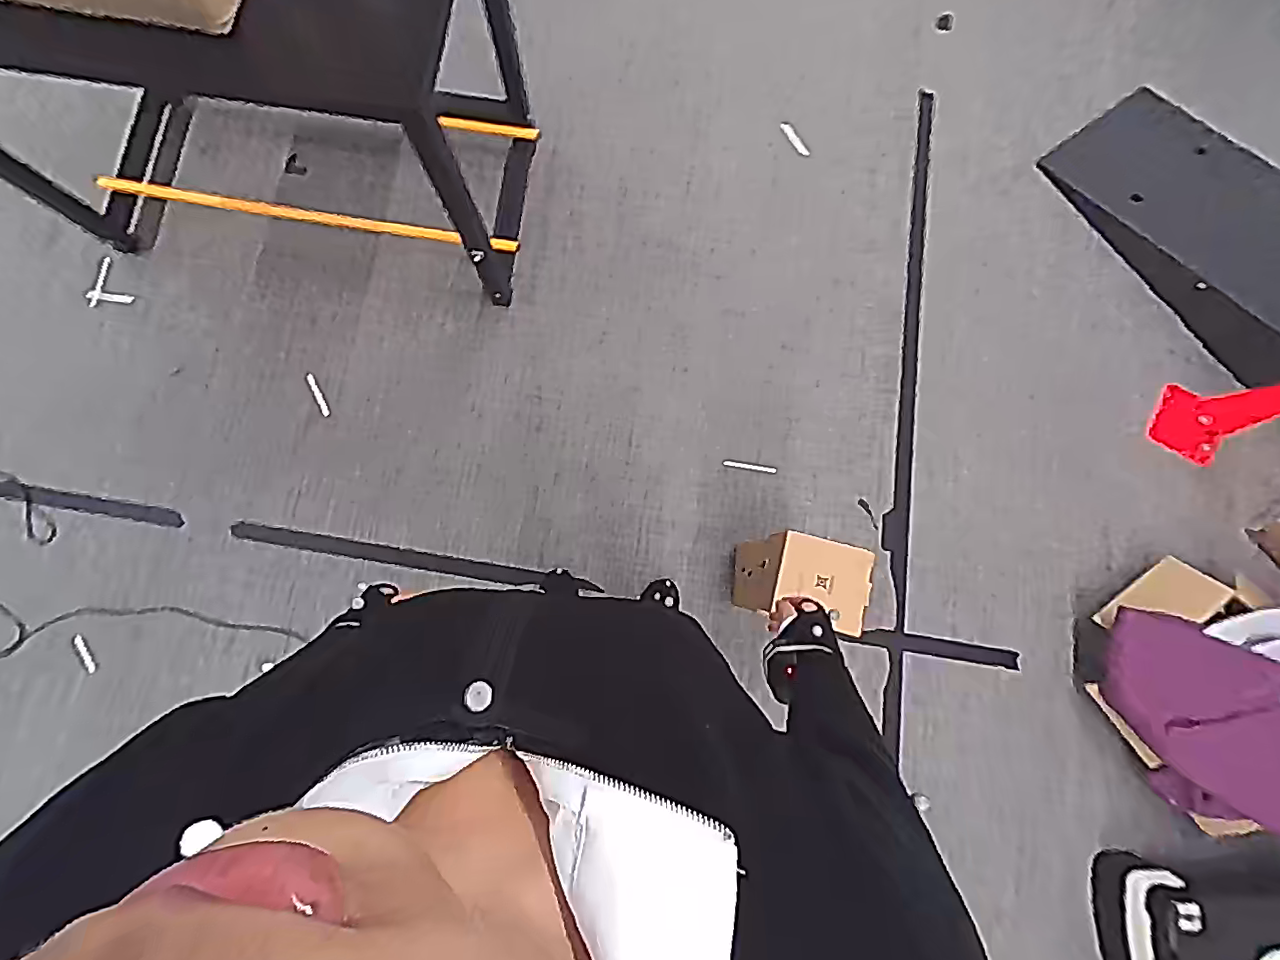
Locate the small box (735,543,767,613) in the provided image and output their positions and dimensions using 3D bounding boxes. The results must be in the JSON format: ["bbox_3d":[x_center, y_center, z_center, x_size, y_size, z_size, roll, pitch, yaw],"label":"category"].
[{"bbox_3d":[0.349,0.263,1.423,0.168,0.176,0.179,5,81,0],"label":"small box"}]

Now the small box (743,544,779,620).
[{"bbox_3d":[0.353,0.242,1.260,0.179,0.176,0.168,9,81,1],"label":"small box"}]

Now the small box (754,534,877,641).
[{"bbox_3d":[0.349,0.214,1.100,0.179,0.176,0.168,14,80,2],"label":"small box"}]
